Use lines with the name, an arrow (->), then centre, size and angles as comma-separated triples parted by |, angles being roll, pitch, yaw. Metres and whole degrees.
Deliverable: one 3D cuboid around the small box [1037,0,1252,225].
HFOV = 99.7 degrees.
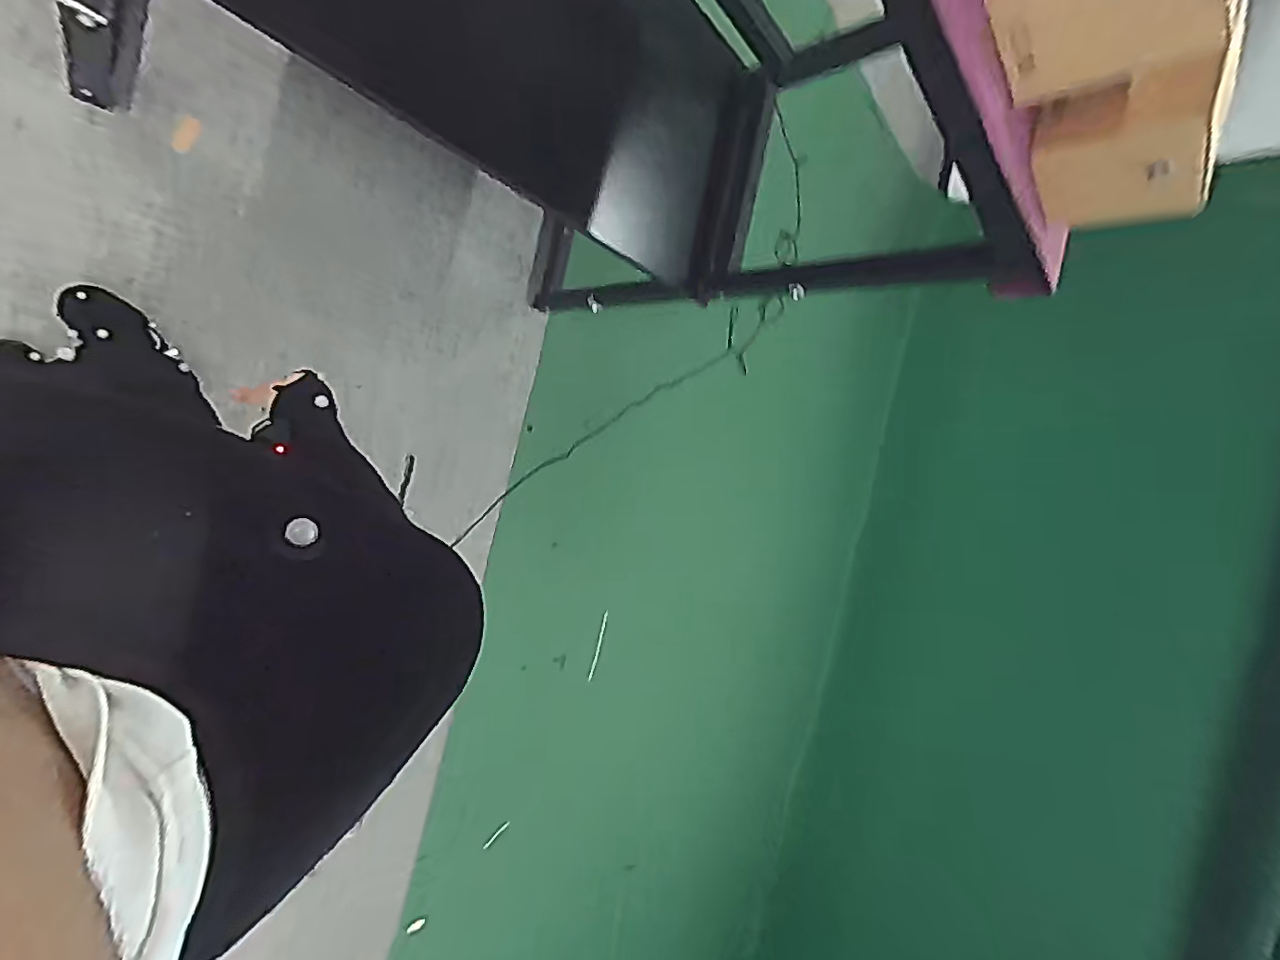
small box -> 0.632, -0.452, 0.691 | 0.179, 0.176, 0.168 | 19, 87, -45
